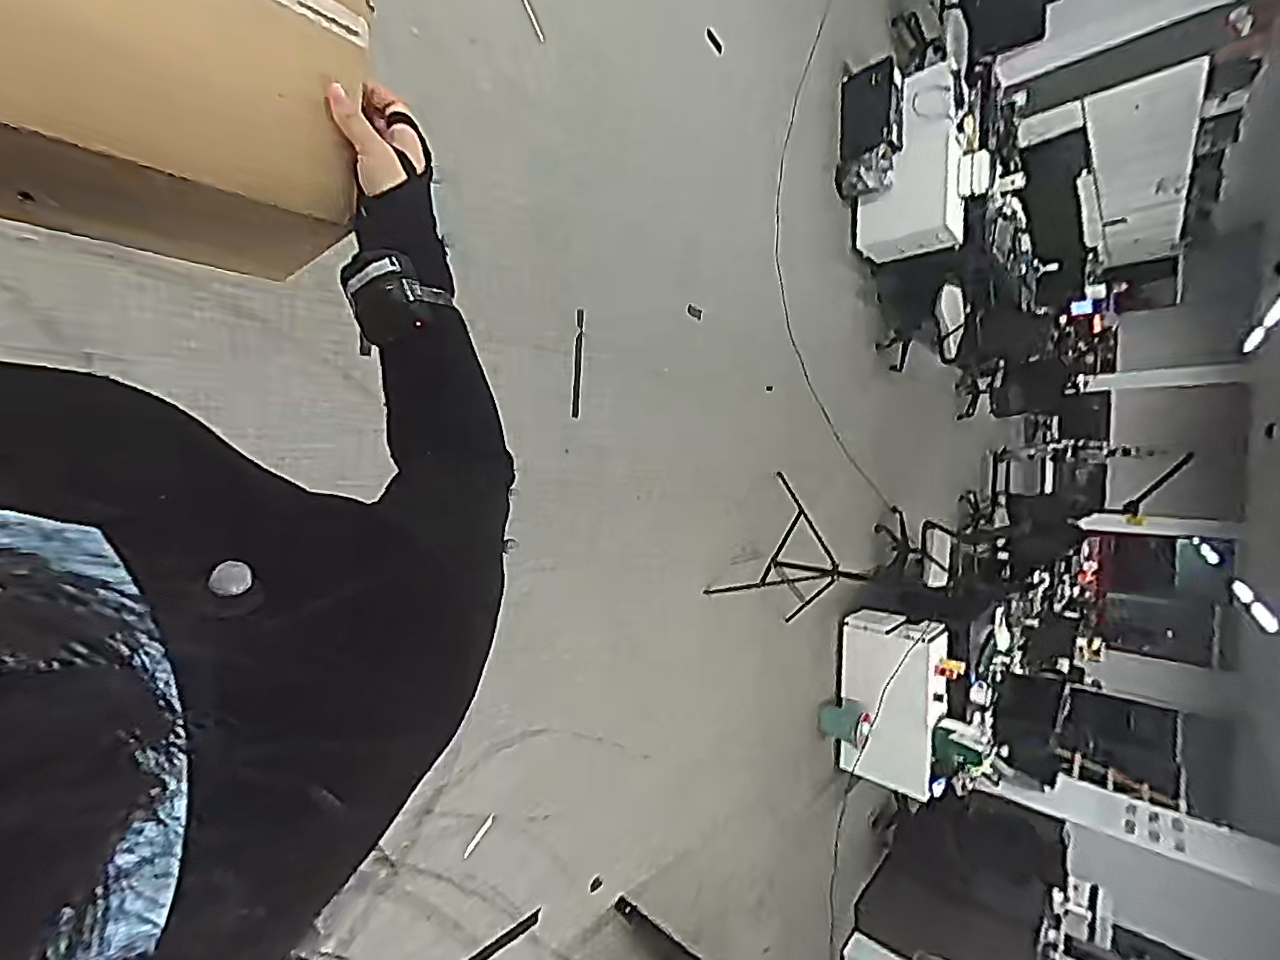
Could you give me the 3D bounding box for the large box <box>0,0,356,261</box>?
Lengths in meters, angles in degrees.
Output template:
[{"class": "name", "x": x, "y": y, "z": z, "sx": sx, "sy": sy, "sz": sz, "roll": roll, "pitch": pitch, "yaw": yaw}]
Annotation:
[{"class": "large box", "x": -0.483, "y": -0.401, "z": 0.428, "sx": 0.408, "sy": 0.320, "sz": 0.320, "roll": 1, "pitch": 96, "yaw": -43}]
